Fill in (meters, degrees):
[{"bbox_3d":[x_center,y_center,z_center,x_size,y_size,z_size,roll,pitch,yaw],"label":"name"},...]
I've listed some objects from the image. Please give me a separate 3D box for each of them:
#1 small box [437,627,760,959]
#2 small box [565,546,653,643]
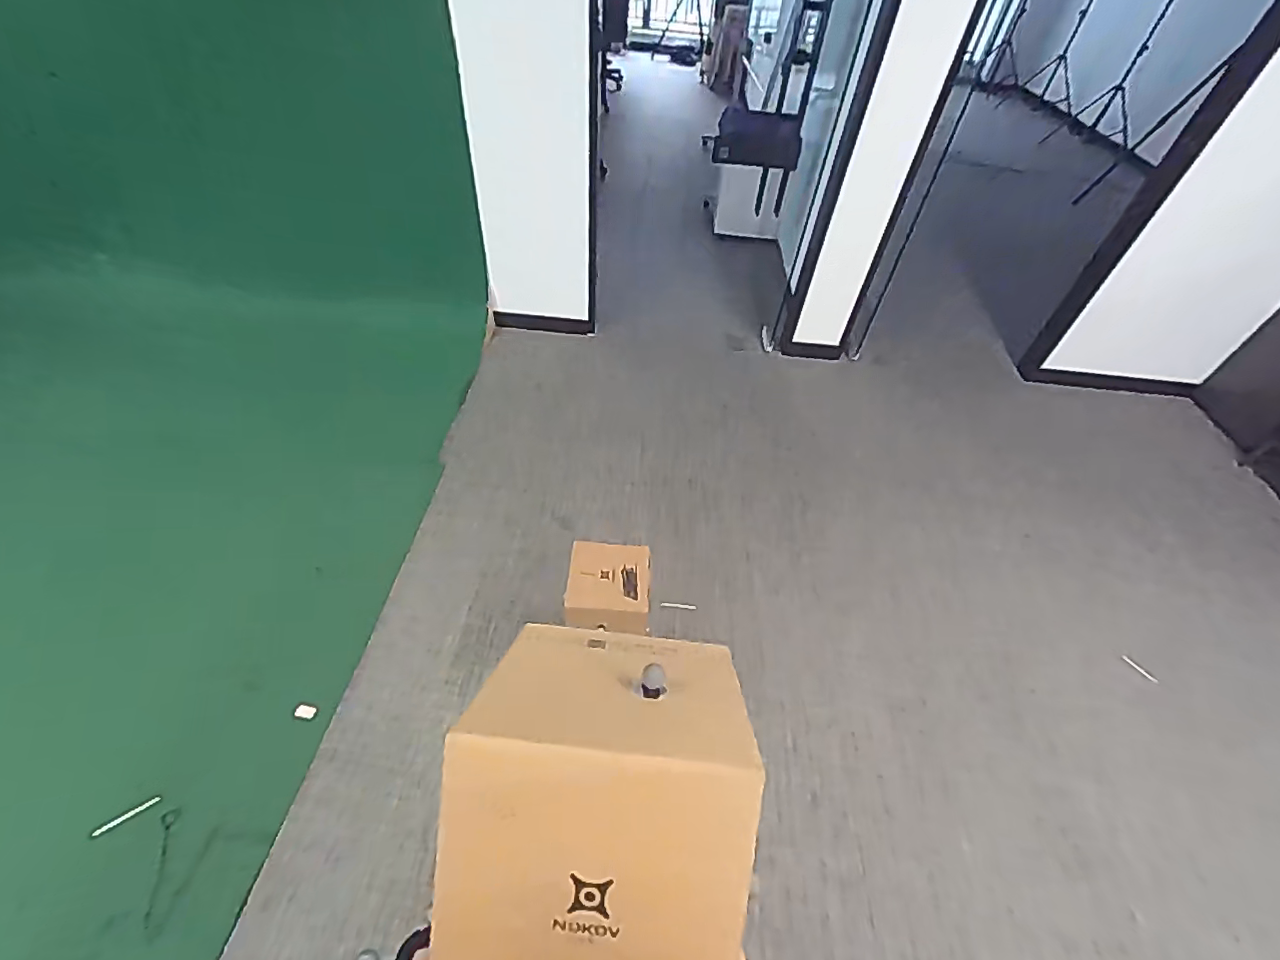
[{"bbox_3d":[-0.024,0.217,0.374,0.168,0.179,0.176,6,6,2],"label":"small box"},{"bbox_3d":[-0.067,0.268,1.217,0.179,0.176,0.168,4,48,-1],"label":"small box"}]
